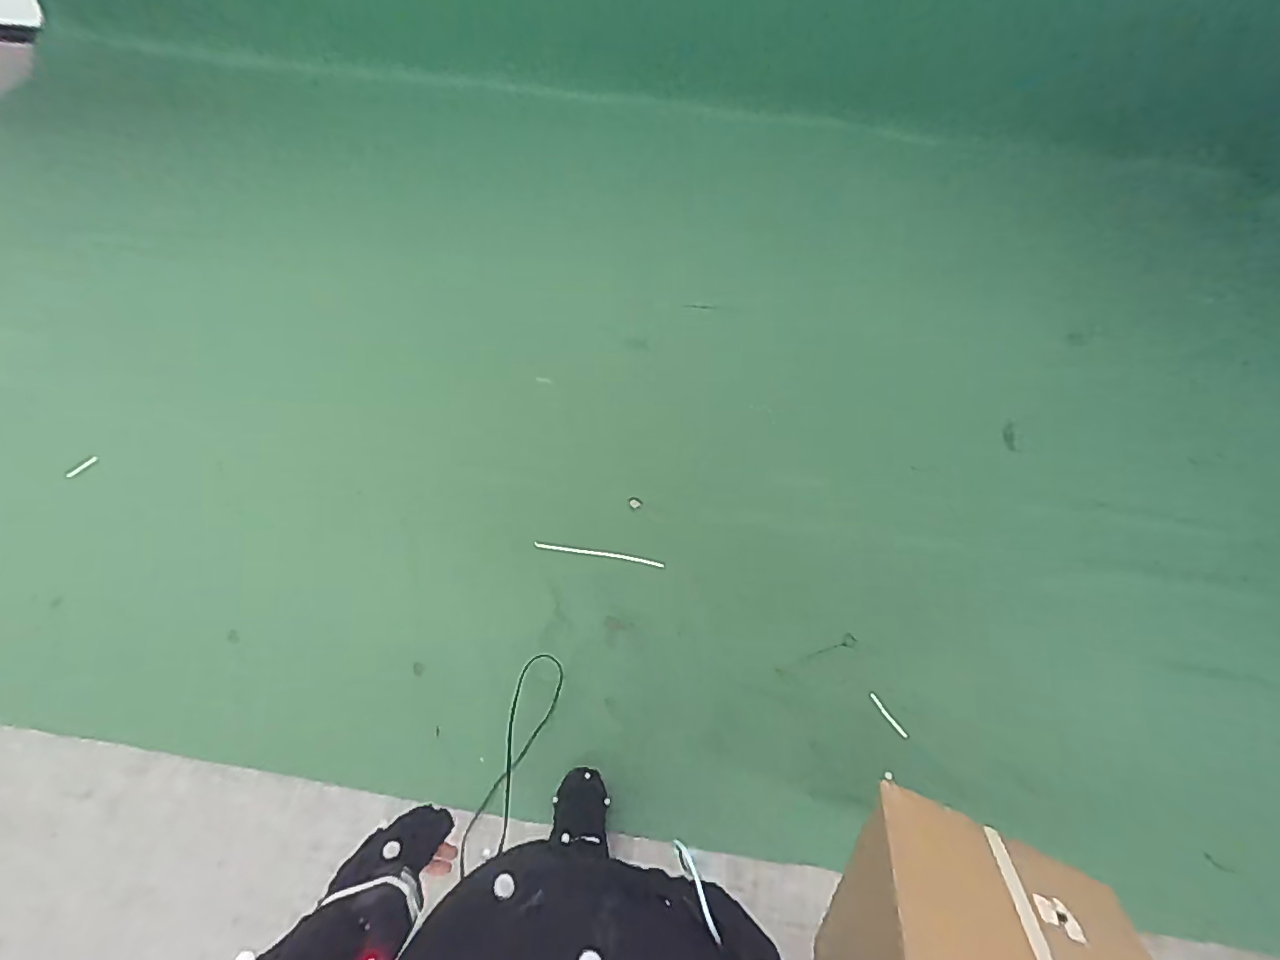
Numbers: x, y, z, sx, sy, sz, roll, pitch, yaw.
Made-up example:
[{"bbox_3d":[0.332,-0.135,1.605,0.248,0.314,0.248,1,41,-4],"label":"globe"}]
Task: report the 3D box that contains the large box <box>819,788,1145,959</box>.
[{"bbox_3d":[0.411,0.685,0.644,0.320,0.408,0.320,21,99,17],"label":"large box"}]
